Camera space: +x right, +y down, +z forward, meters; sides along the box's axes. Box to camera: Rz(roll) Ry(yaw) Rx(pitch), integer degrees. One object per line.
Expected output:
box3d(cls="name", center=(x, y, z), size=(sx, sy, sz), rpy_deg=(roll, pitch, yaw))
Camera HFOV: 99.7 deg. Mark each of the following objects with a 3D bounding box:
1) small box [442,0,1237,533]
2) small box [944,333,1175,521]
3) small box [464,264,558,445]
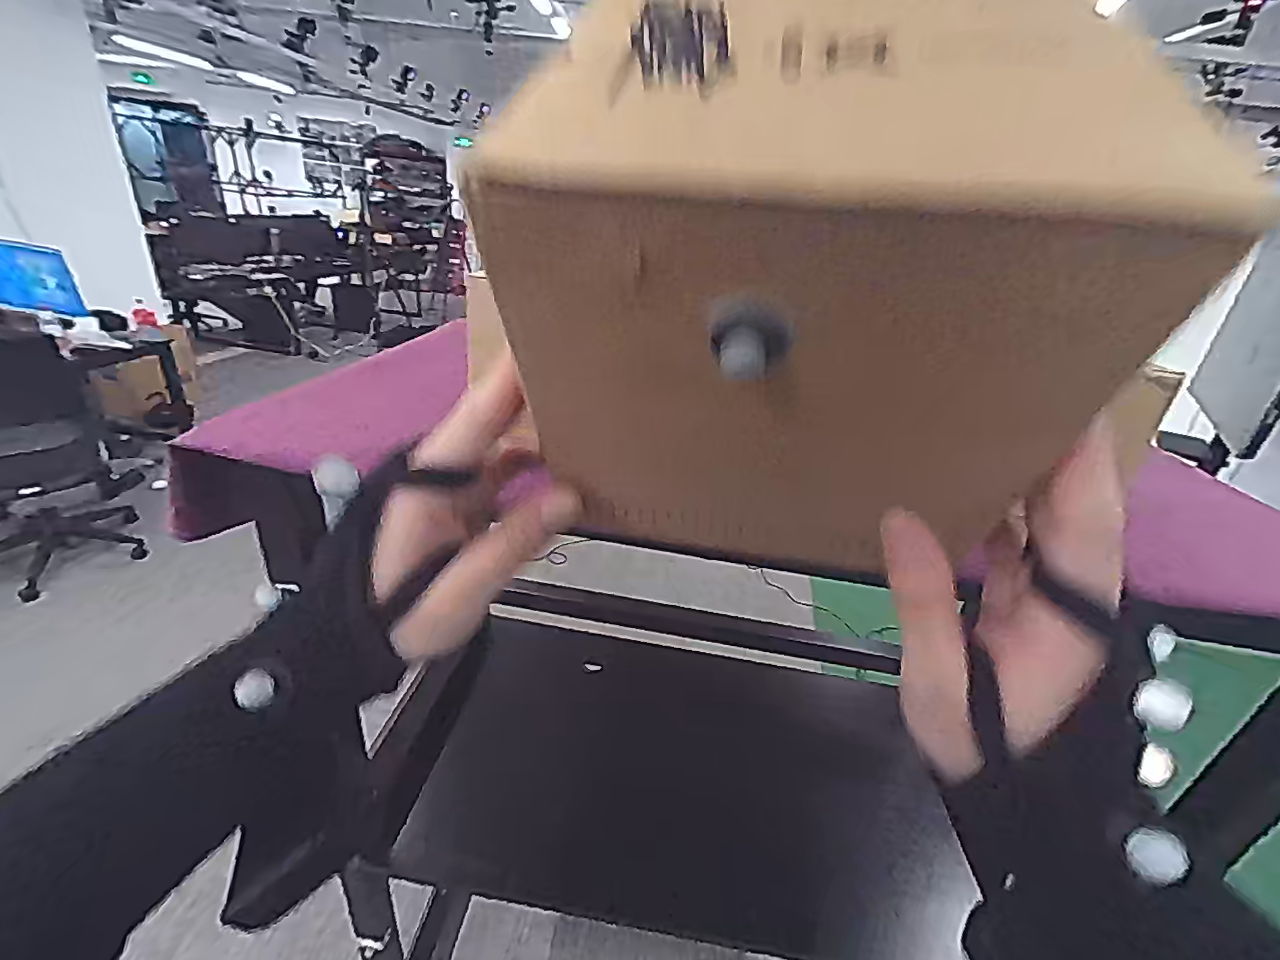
box3d(cls="small box", center=(0.055, -0.093, 0.229), size=(0.179, 0.176, 0.168), rpy_deg=(7, 57, 9))
box3d(cls="small box", center=(0.409, -0.072, 0.601), size=(0.168, 0.176, 0.179), rpy_deg=(11, 25, 7))
box3d(cls="small box", center=(-0.089, -0.146, 0.632), size=(0.179, 0.176, 0.168), rpy_deg=(10, 26, 3))
